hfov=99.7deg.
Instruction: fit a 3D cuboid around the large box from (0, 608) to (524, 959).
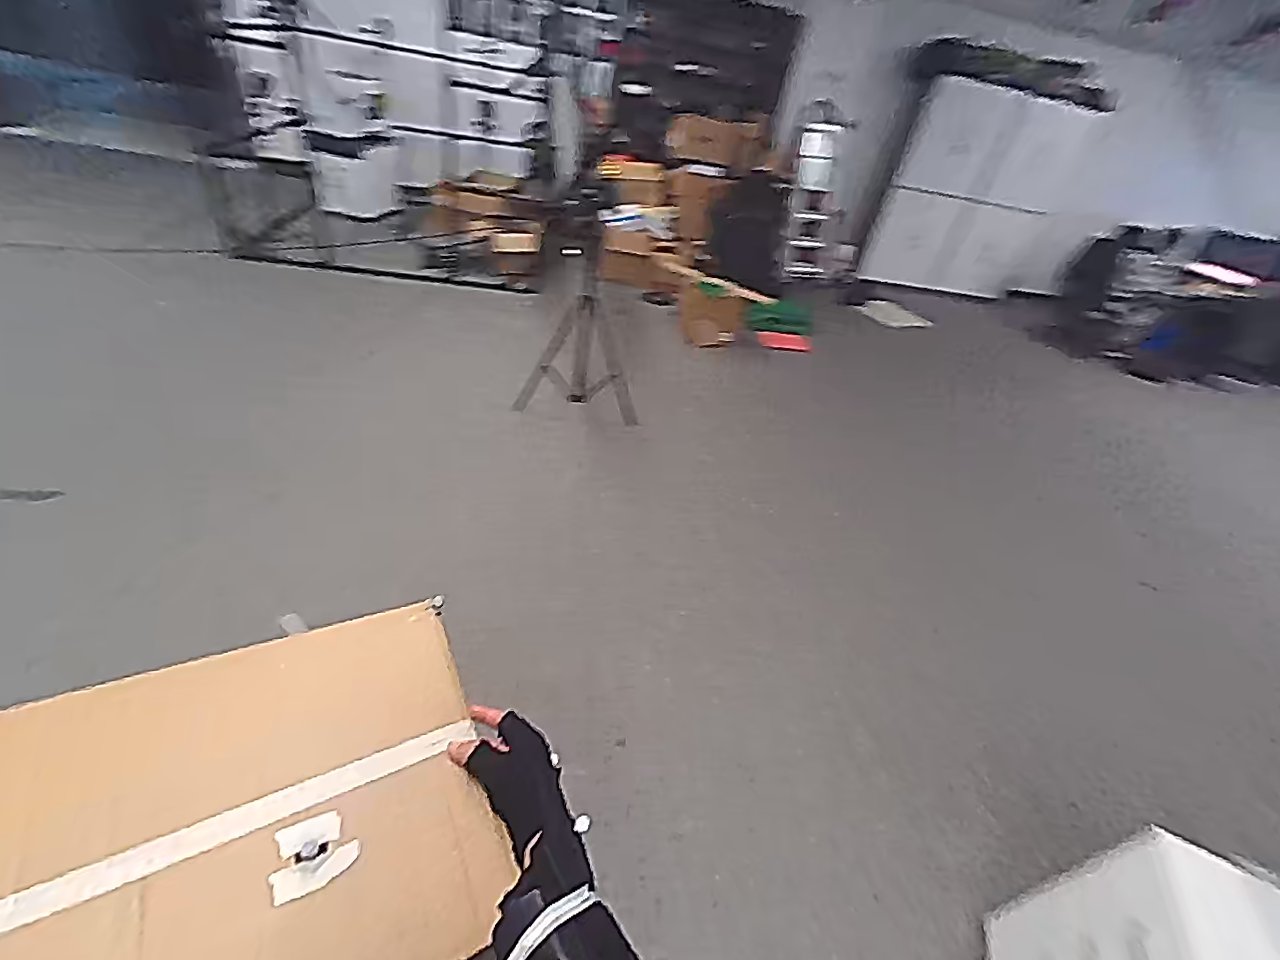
[{"bbox_3d":[-0.370,0.386,0.513,0.408,0.320,0.320,-11,49,-32],"label":"large box"}]
